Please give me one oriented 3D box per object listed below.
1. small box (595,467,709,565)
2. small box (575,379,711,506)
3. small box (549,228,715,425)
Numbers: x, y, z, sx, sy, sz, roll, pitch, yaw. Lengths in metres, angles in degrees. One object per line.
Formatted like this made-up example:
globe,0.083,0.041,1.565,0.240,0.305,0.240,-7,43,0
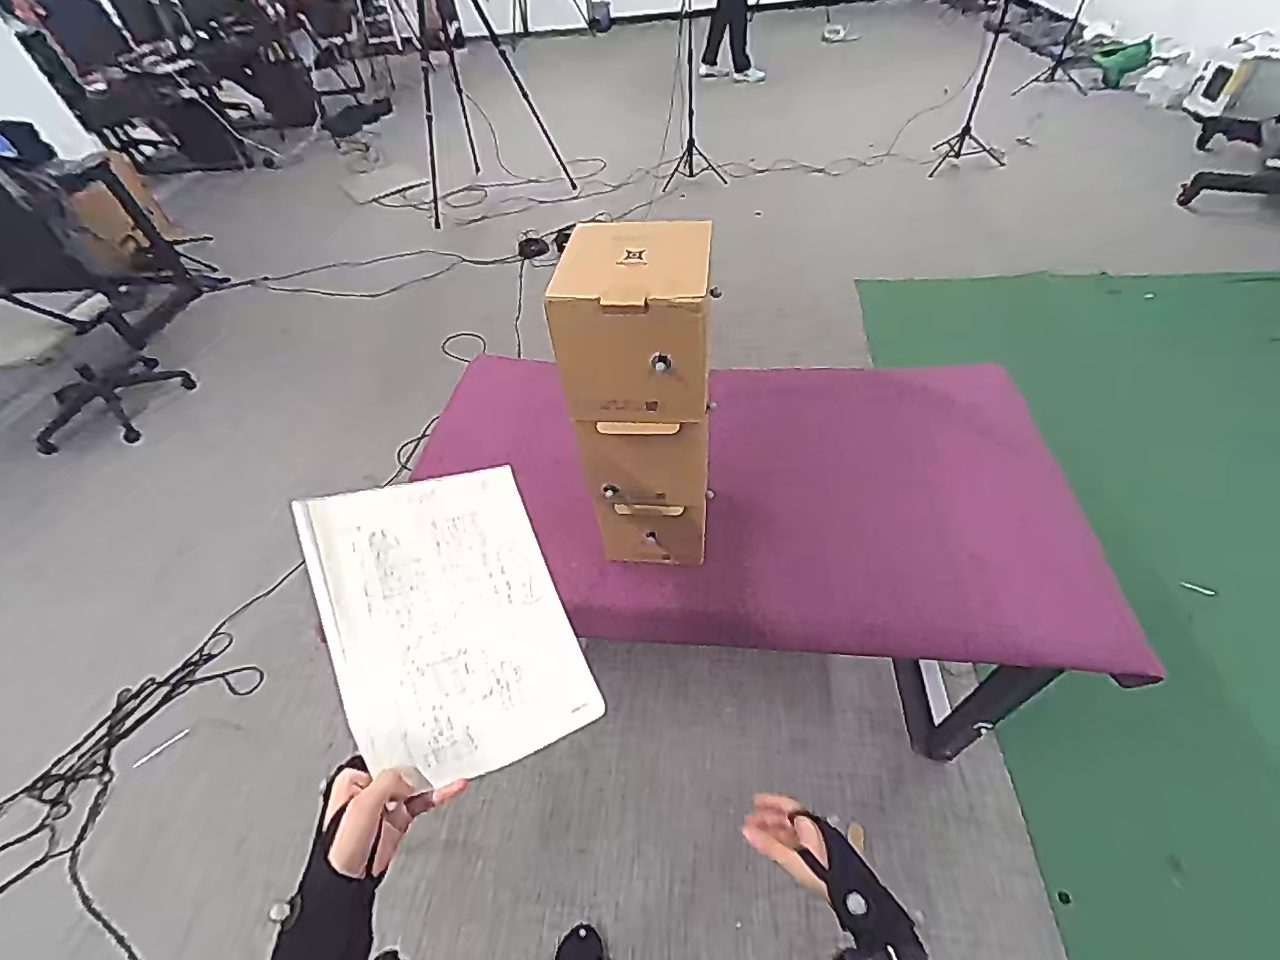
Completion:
small box,0.029,0.026,0.908,0.168,0.176,0.179,3,49,8
small box,0.016,-0.079,0.781,0.168,0.176,0.179,2,48,8
small box,0.003,-0.183,0.657,0.168,0.176,0.179,3,48,8
